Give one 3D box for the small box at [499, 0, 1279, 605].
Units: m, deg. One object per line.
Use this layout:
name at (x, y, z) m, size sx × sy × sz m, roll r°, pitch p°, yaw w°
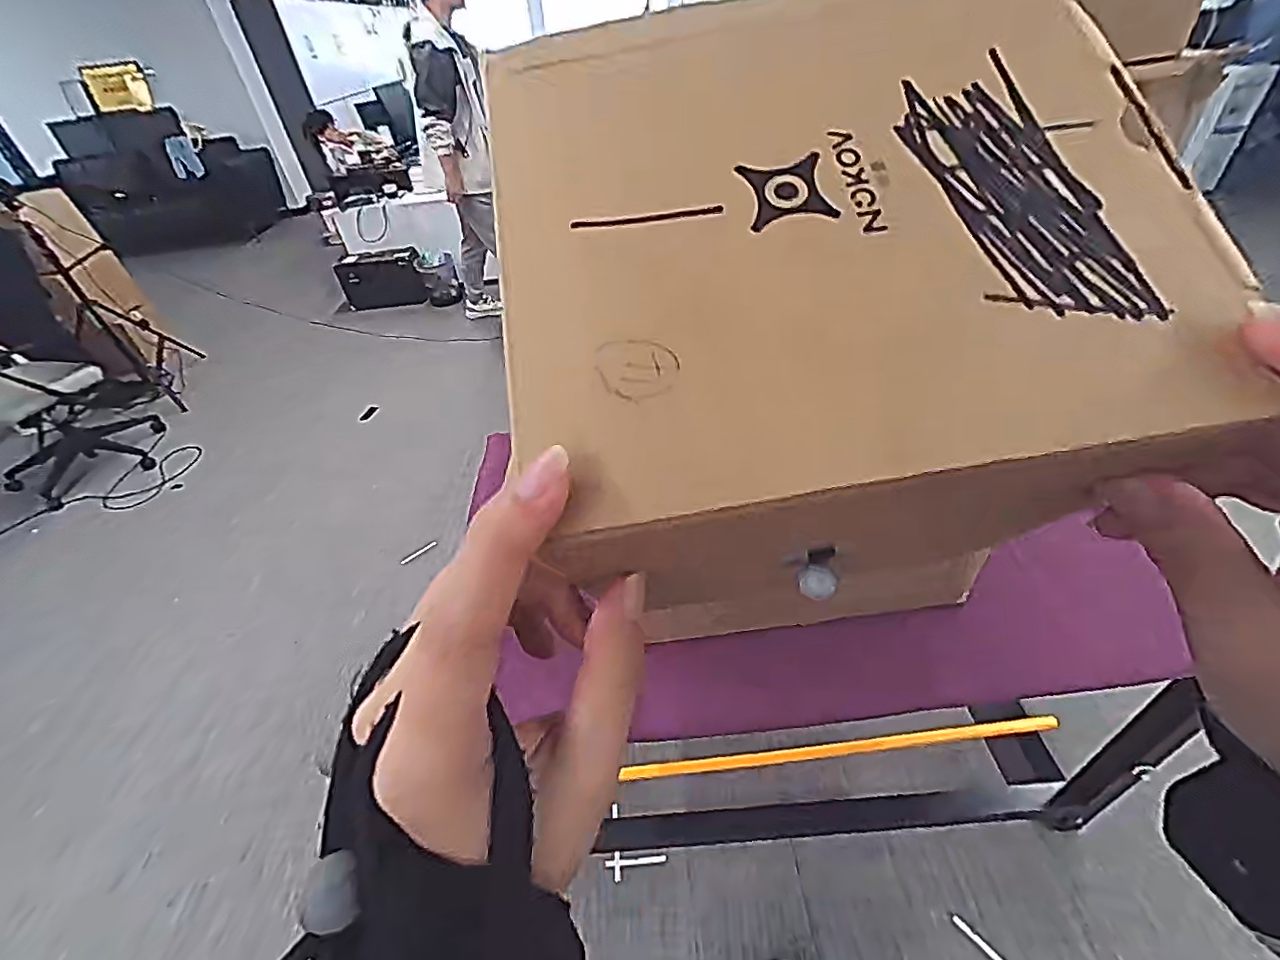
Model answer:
small box at (0.058, -0.051, 0.216) m, size 0.179 × 0.176 × 0.168 m, roll -10°, pitch 70°, yaw 2°
